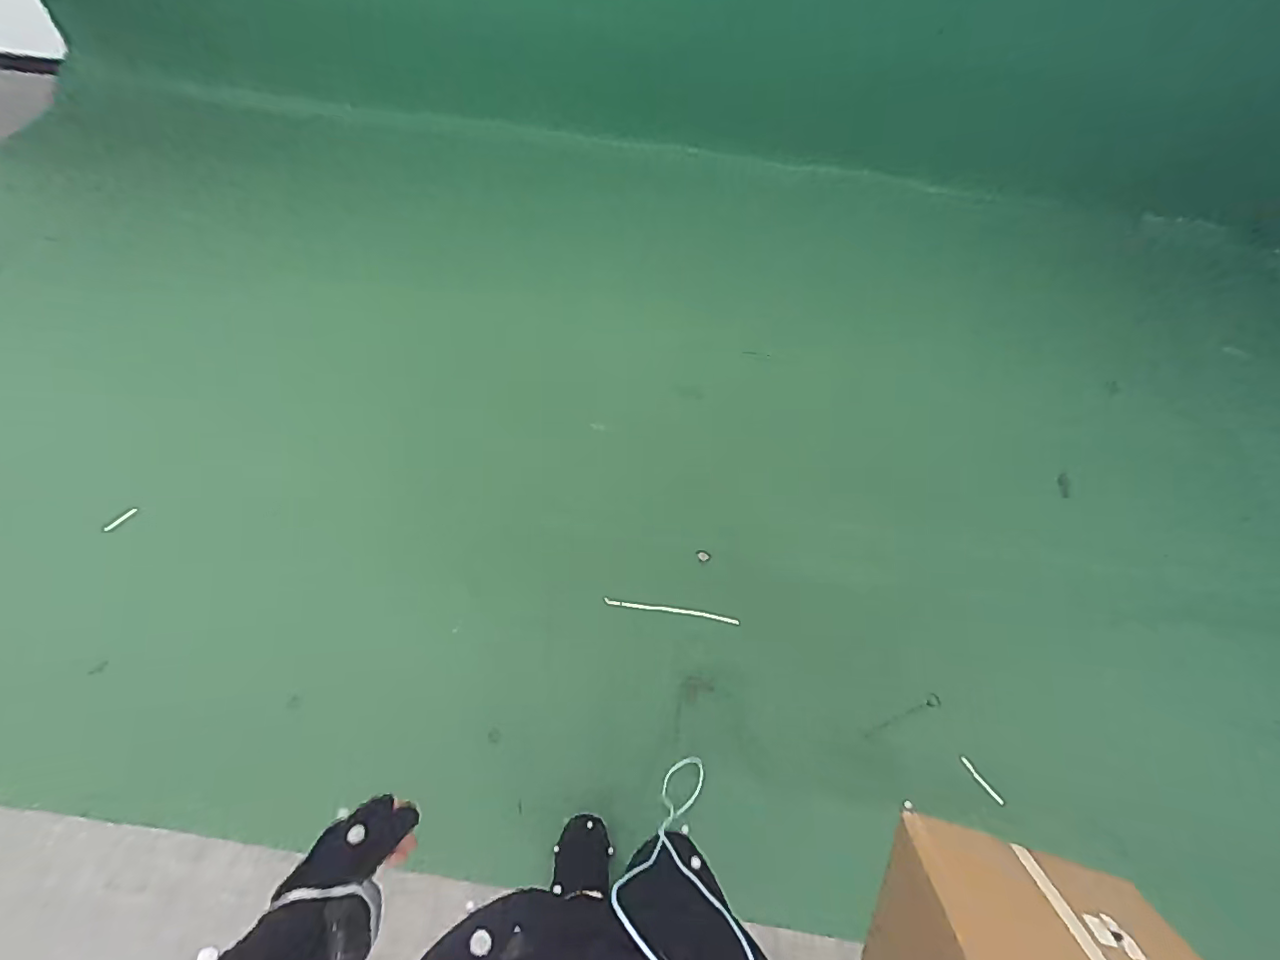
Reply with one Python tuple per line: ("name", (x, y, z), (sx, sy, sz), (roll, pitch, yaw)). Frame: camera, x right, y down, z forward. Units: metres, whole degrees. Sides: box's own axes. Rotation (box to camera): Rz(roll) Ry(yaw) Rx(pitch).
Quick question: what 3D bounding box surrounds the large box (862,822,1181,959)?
("large box", (0.460, 0.694, 0.596), (0.320, 0.408, 0.320), (14, 94, 10))
